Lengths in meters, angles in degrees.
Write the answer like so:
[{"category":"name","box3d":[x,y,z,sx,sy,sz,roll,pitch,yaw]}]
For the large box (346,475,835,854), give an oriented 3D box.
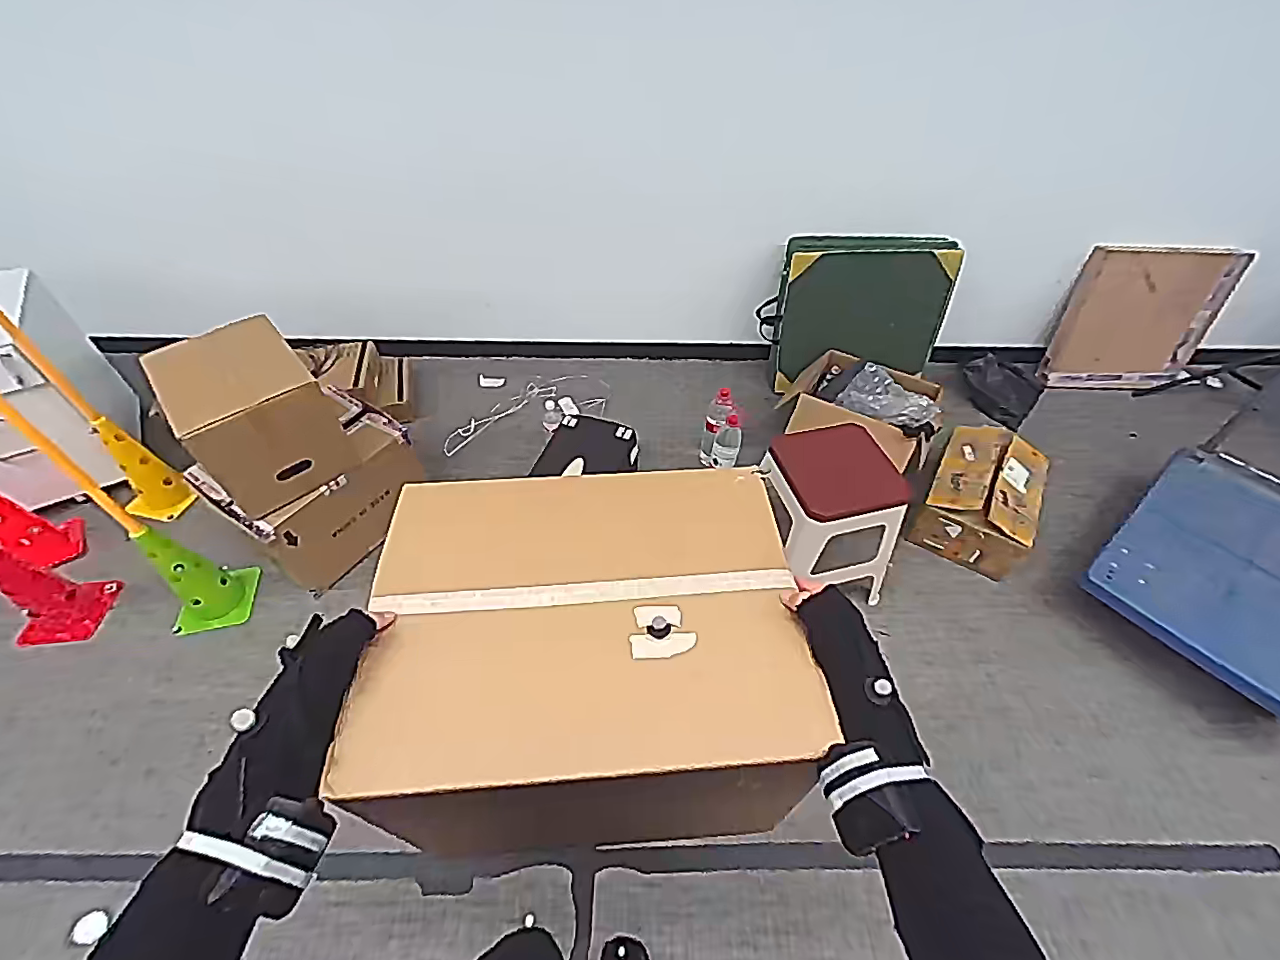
[{"category":"large box","box3d":[-0.049,0.217,0.641,0.408,0.320,0.320,-2,48,-3]}]
